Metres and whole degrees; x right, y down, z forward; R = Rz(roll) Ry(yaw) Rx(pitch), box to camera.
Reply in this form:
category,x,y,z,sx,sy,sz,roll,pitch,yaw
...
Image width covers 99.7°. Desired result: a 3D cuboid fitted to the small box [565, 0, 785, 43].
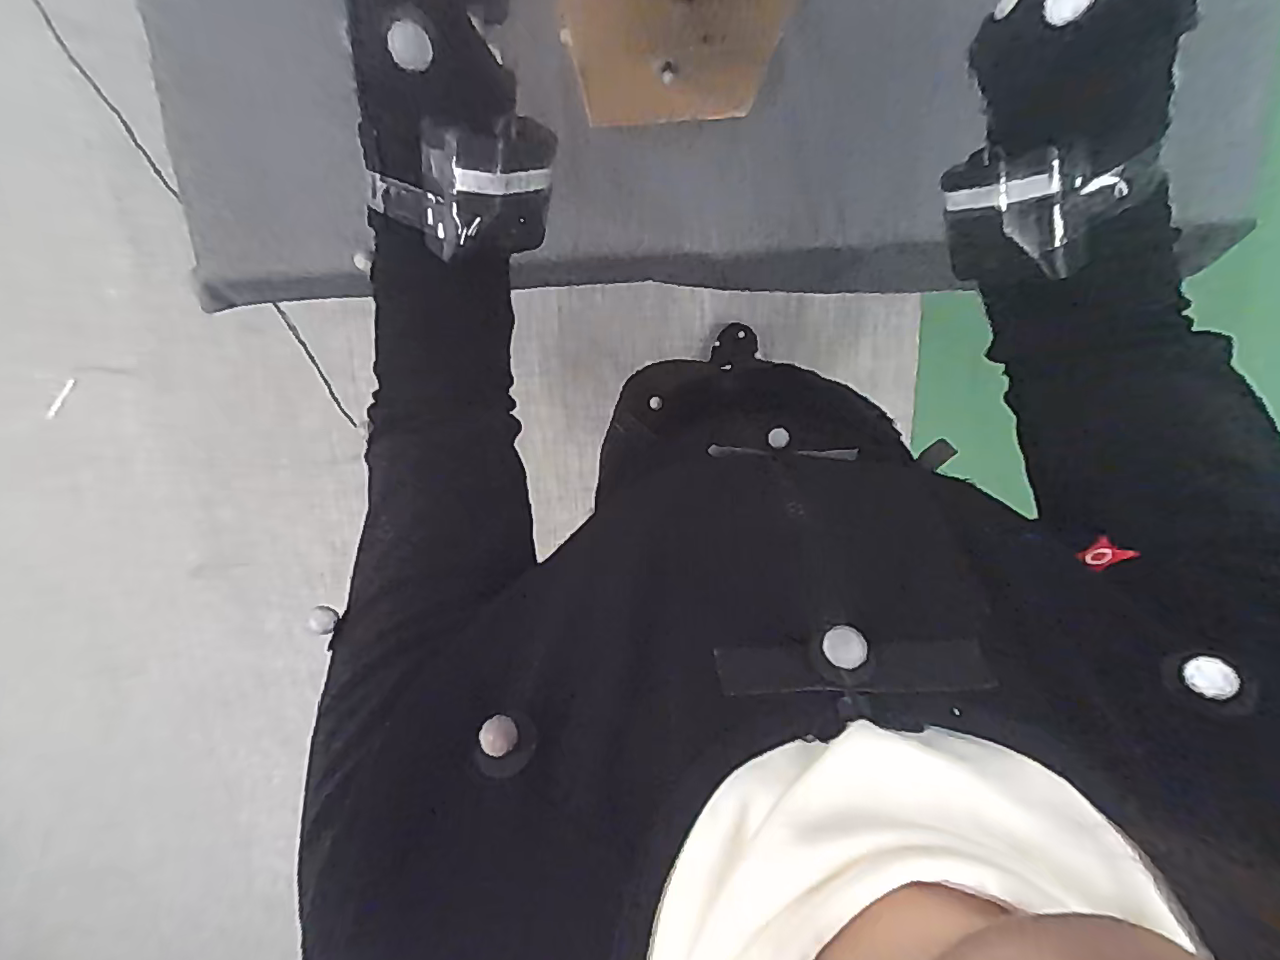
category,x,y,z,sx,sy,sz,roll,pitch,yaw
small box,0.021,-0.410,0.336,0.168,0.176,0.179,-3,106,3

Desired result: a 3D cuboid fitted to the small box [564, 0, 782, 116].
category,x,y,z,sx,sy,sz,roll,pitch,yaw
small box,0.025,-0.457,0.493,0.179,0.176,0.168,-3,105,1
